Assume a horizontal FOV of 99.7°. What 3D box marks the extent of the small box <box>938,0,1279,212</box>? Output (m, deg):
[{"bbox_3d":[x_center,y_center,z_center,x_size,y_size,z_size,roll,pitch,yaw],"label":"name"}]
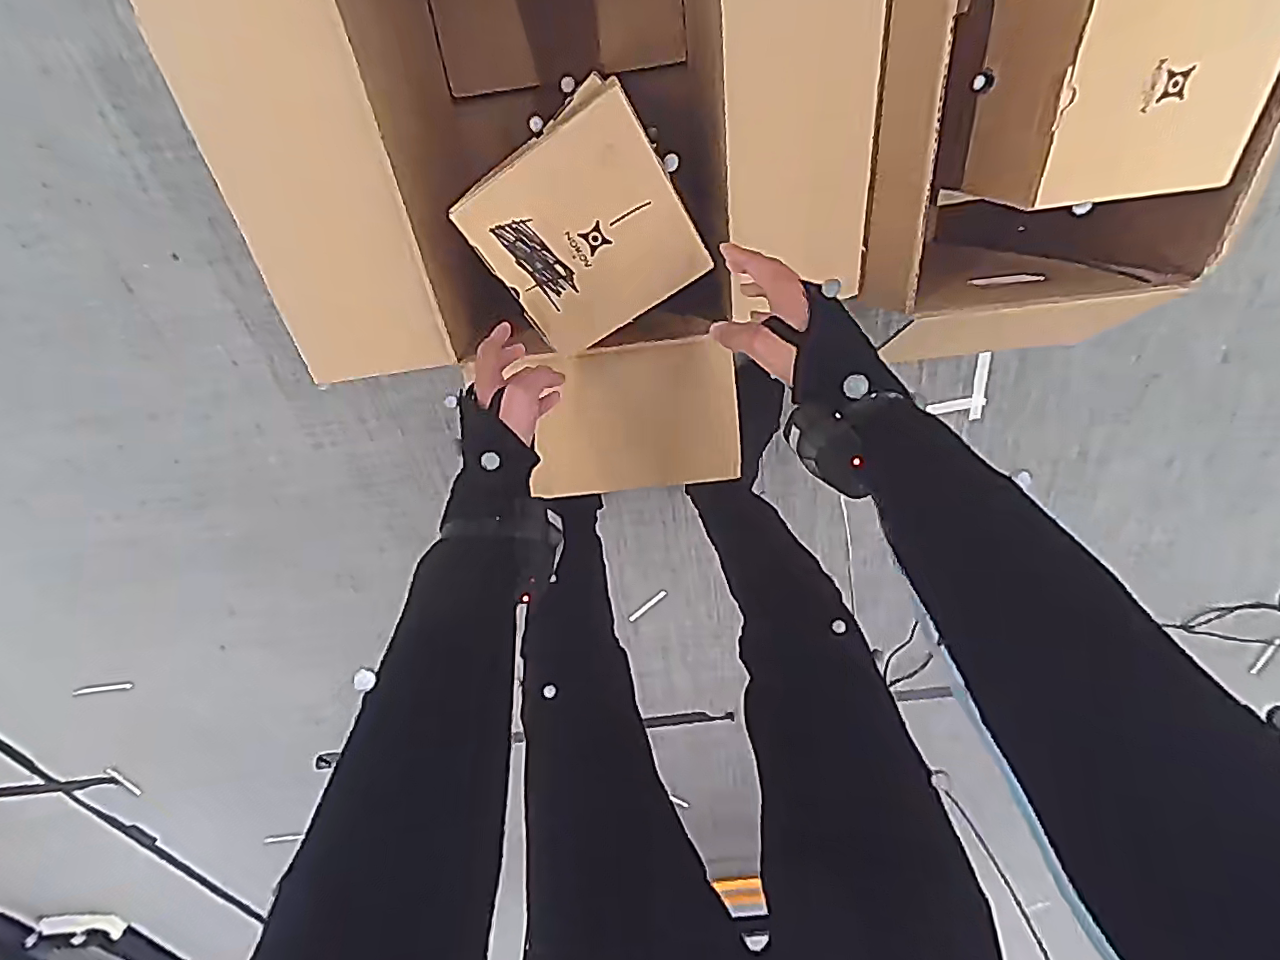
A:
[{"bbox_3d":[0.414,-0.359,0.494,0.179,0.176,0.168,-6,126,2],"label":"small box"}]
